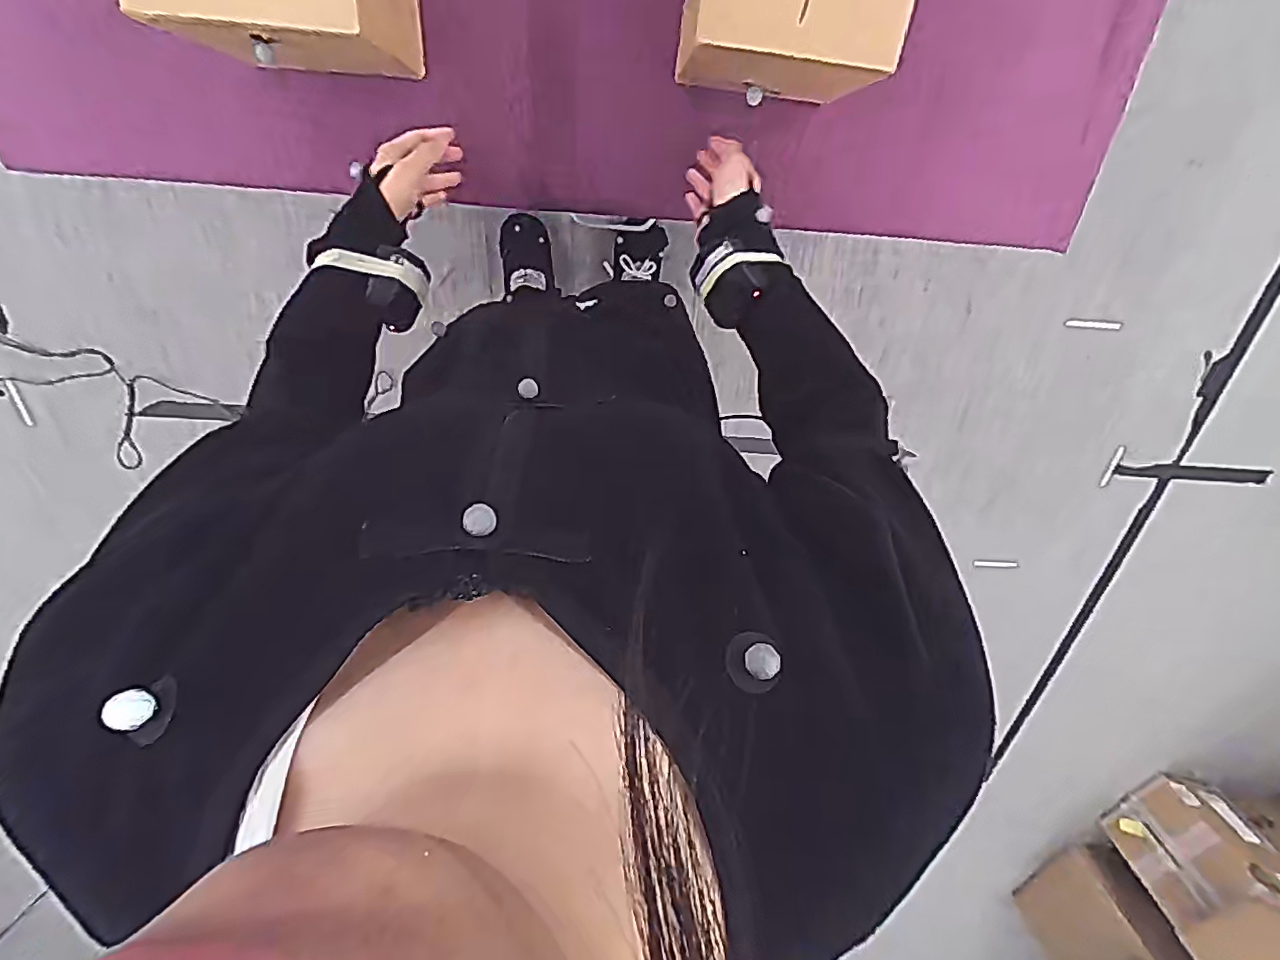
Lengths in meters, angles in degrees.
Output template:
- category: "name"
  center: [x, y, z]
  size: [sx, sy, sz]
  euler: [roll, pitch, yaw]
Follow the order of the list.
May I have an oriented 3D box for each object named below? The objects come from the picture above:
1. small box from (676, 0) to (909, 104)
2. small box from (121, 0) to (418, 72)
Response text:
- category: "small box"
  center: [0.128, -0.449, 0.463]
  size: [0.168, 0.176, 0.179]
  euler: [5, 118, -5]
- category: "small box"
  center: [-0.296, -0.454, 0.442]
  size: [0.179, 0.176, 0.168]
  euler: [3, 118, -4]
